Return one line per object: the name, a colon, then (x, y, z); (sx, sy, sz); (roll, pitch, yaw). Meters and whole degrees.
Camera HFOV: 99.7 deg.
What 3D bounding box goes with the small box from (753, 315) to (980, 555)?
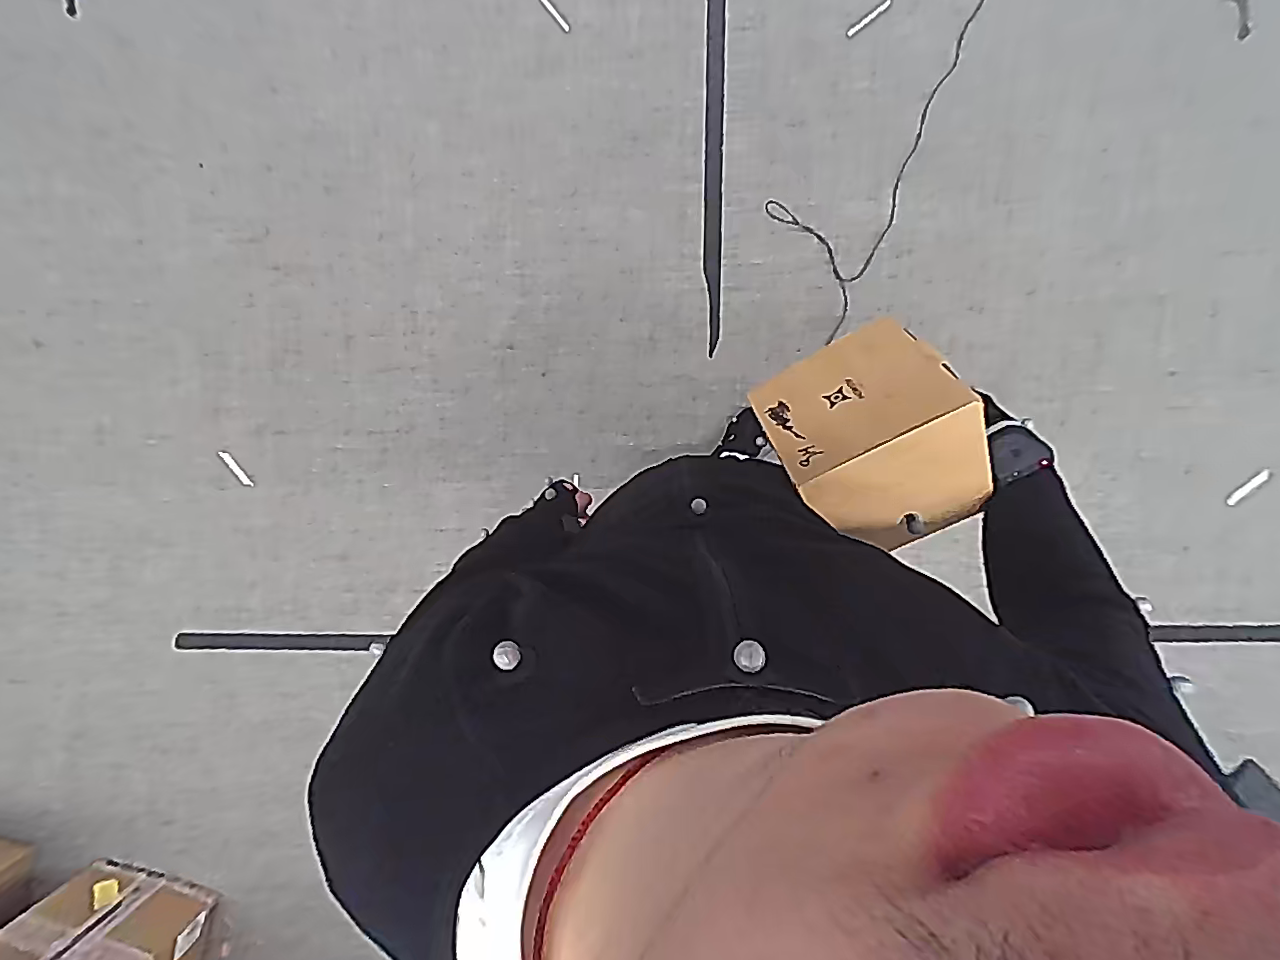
small box: (0.256, -0.046, 0.615); (0.179, 0.168, 0.176); (-27, 130, 13)
